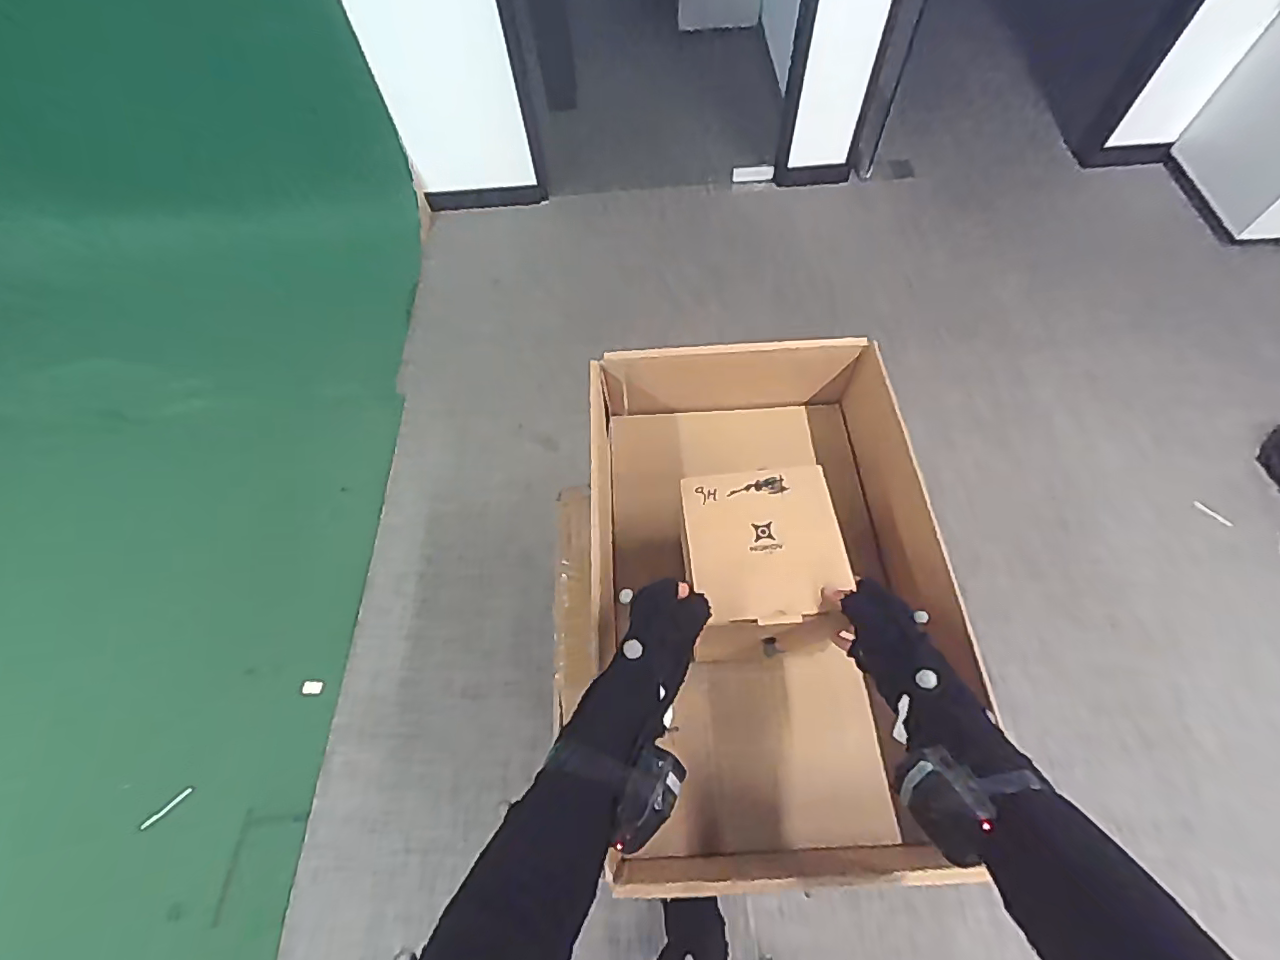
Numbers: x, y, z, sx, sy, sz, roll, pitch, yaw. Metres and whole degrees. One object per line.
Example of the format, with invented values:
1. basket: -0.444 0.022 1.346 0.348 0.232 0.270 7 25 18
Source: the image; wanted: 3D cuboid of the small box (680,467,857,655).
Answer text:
1. small box: 0.138 0.106 0.650 0.168 0.176 0.179 -5 60 1
